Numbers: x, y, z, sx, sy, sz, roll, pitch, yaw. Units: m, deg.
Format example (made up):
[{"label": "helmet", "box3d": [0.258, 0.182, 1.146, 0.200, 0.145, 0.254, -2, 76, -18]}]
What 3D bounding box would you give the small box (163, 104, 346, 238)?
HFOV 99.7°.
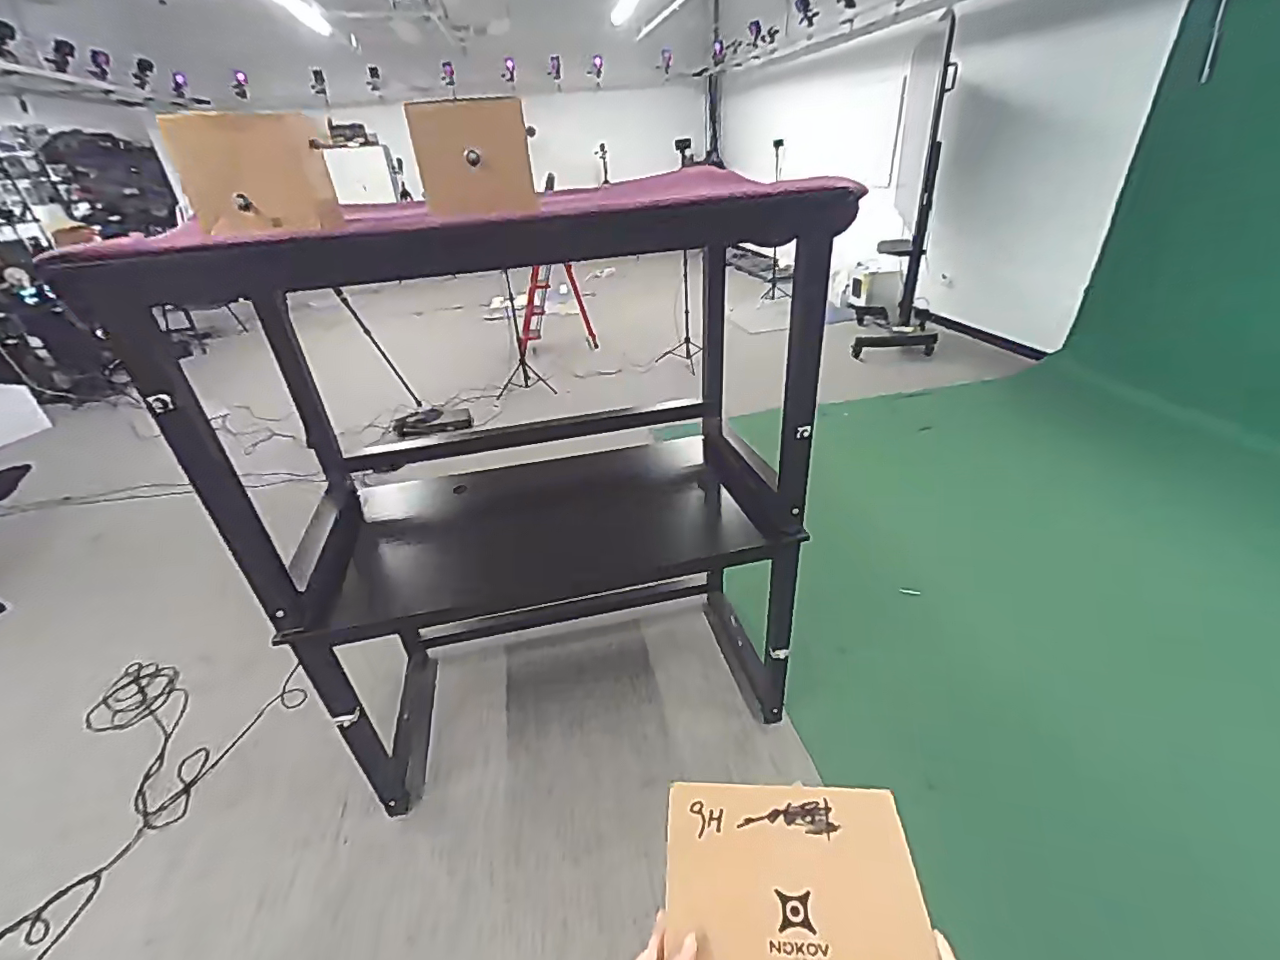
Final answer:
[{"label": "small box", "box3d": [-0.586, -0.482, 0.854, 0.168, 0.176, 0.179, -10, 31, -12]}]
